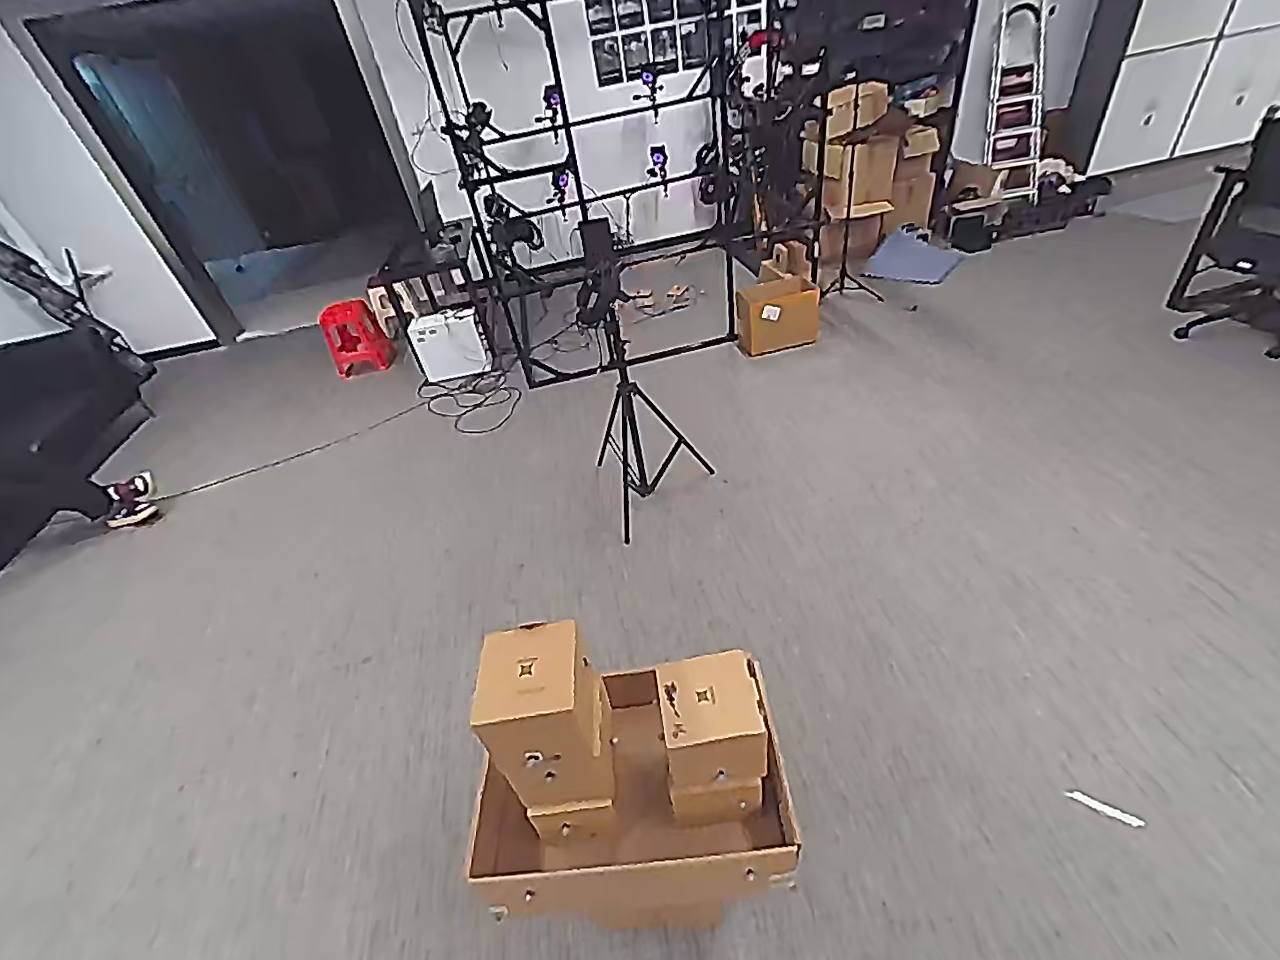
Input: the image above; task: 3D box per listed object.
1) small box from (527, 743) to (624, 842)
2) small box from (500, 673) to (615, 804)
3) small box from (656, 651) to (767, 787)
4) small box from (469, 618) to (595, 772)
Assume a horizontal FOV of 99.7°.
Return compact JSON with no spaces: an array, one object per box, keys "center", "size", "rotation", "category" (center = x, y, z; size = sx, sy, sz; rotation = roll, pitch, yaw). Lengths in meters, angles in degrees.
[{"center":[-0.128,0.630,1.130],"size":[0.168,0.176,0.179],"rotation":[-8,37,1],"category":"small box"},{"center":[-0.148,0.496,1.035],"size":[0.179,0.176,0.168],"rotation":[-7,38,3],"category":"small box"},{"center":[0.132,0.452,1.020],"size":[0.179,0.176,0.168],"rotation":[-10,38,2],"category":"small box"},{"center":[-0.175,0.370,0.935],"size":[0.168,0.176,0.179],"rotation":[-10,37,2],"category":"small box"}]
